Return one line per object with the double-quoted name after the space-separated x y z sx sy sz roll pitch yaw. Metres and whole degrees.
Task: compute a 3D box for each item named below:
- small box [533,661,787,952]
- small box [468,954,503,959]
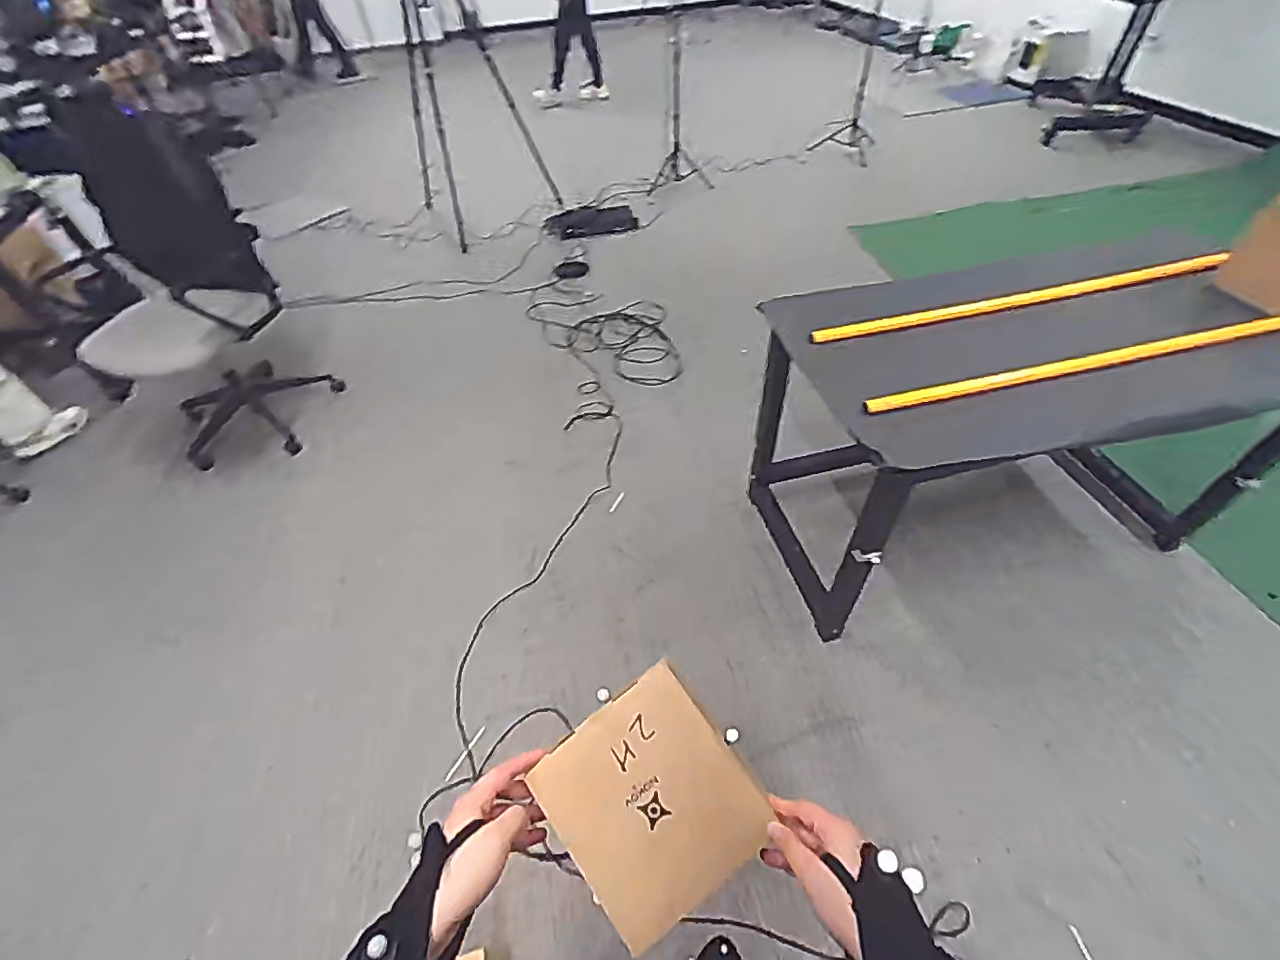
0.022 0.308 0.561 0.168 0.176 0.179 -37 74 -6 "small box"
-0.345 1.008 0.999 0.179 0.176 0.168 -15 50 -9 "small box"
